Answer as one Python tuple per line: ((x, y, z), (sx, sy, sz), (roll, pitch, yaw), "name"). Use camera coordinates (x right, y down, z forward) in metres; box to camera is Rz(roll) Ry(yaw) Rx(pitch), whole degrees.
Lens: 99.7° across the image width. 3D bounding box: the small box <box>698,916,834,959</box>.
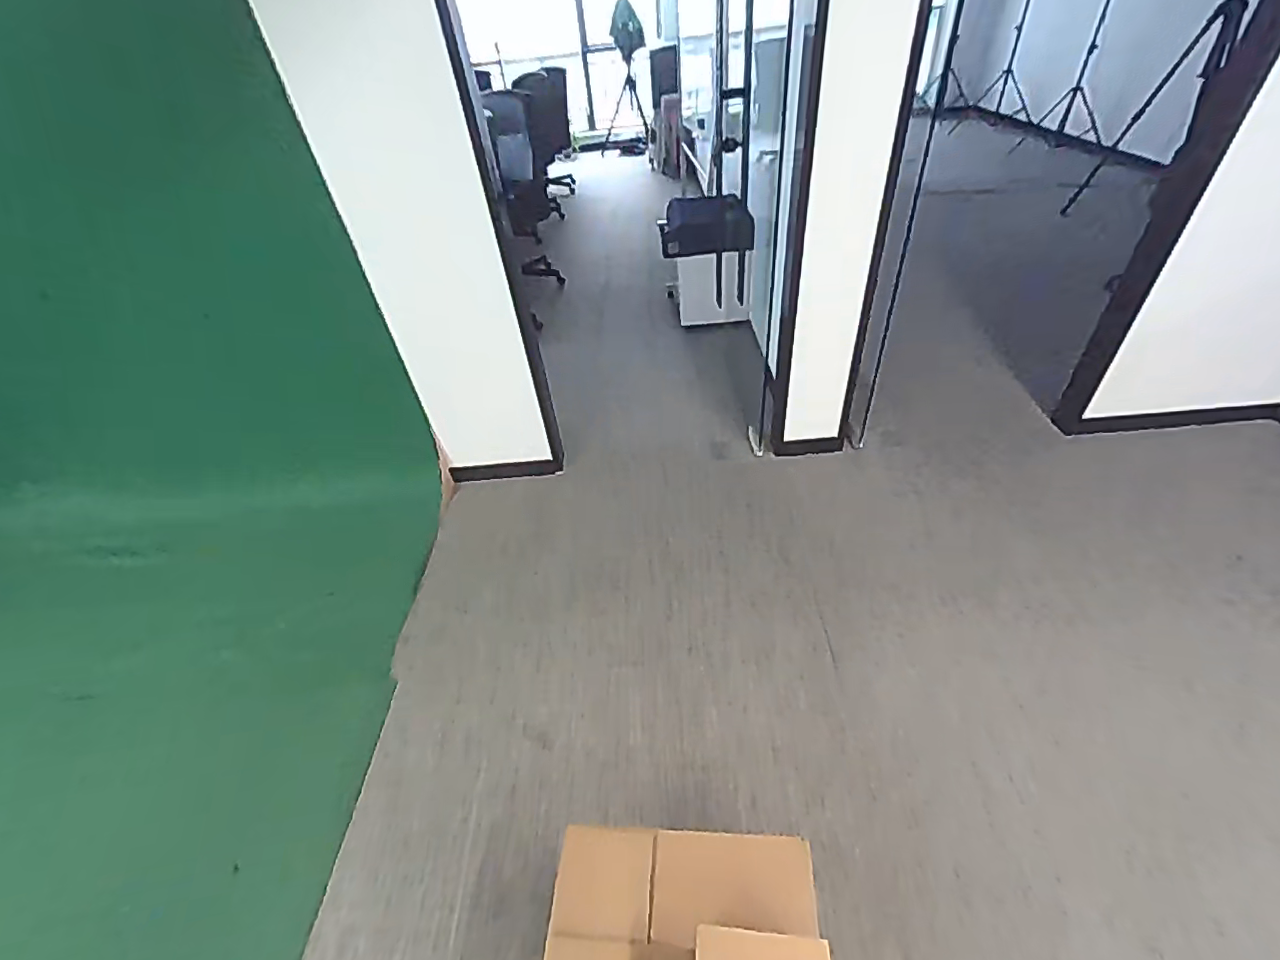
((0.153, 0.682, 0.674), (0.168, 0.176, 0.179), (1, 41, 8), "small box")
